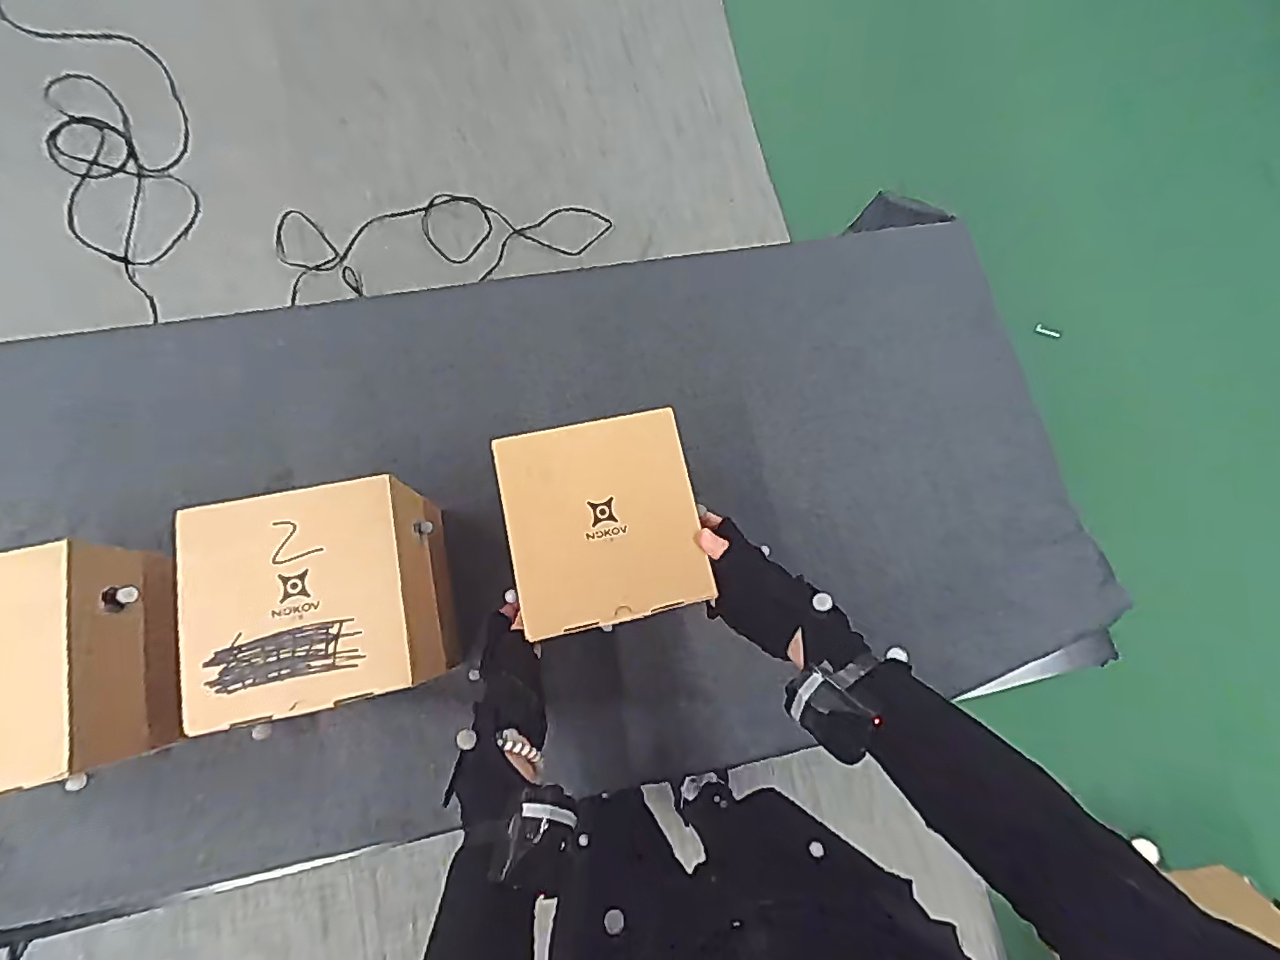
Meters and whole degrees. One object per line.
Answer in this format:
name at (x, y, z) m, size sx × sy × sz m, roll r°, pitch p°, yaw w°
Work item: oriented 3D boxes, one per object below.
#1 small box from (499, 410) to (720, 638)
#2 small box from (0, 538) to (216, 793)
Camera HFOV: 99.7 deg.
small box at (-0.037, 0.050, 0.543) m, size 0.168 × 0.176 × 0.179 m, roll -11°, pitch 80°, yaw -9°
small box at (-0.505, 0.162, 0.463) m, size 0.168 × 0.176 × 0.179 m, roll -12°, pitch 78°, yaw -9°
